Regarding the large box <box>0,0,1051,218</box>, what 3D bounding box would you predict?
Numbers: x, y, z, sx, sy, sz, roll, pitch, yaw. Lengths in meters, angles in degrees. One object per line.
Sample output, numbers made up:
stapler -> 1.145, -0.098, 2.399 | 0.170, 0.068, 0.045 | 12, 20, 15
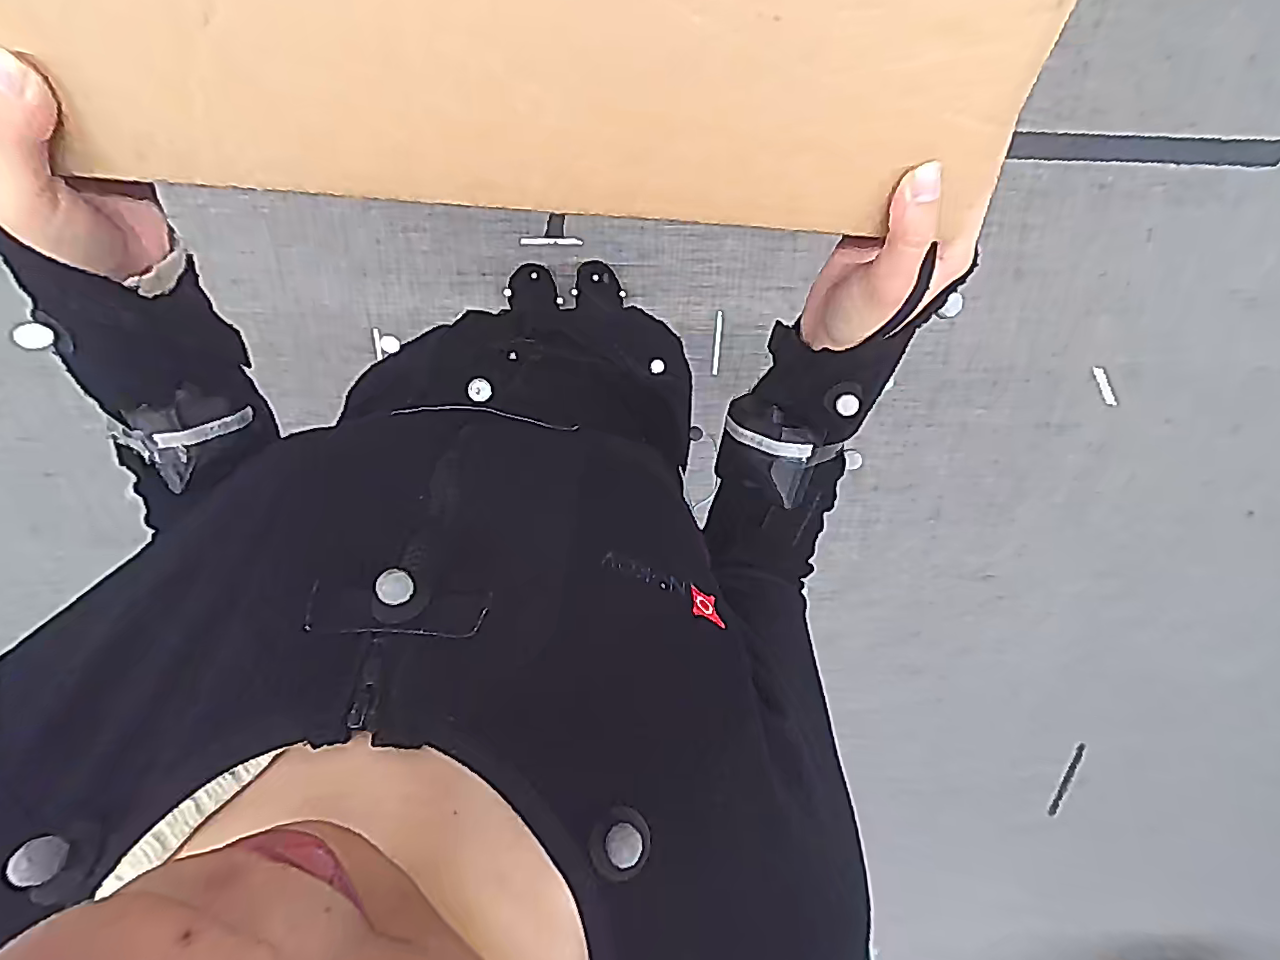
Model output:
large box -> -0.048, -0.338, 0.240 | 0.408, 0.320, 0.320 | 1, 136, -6
